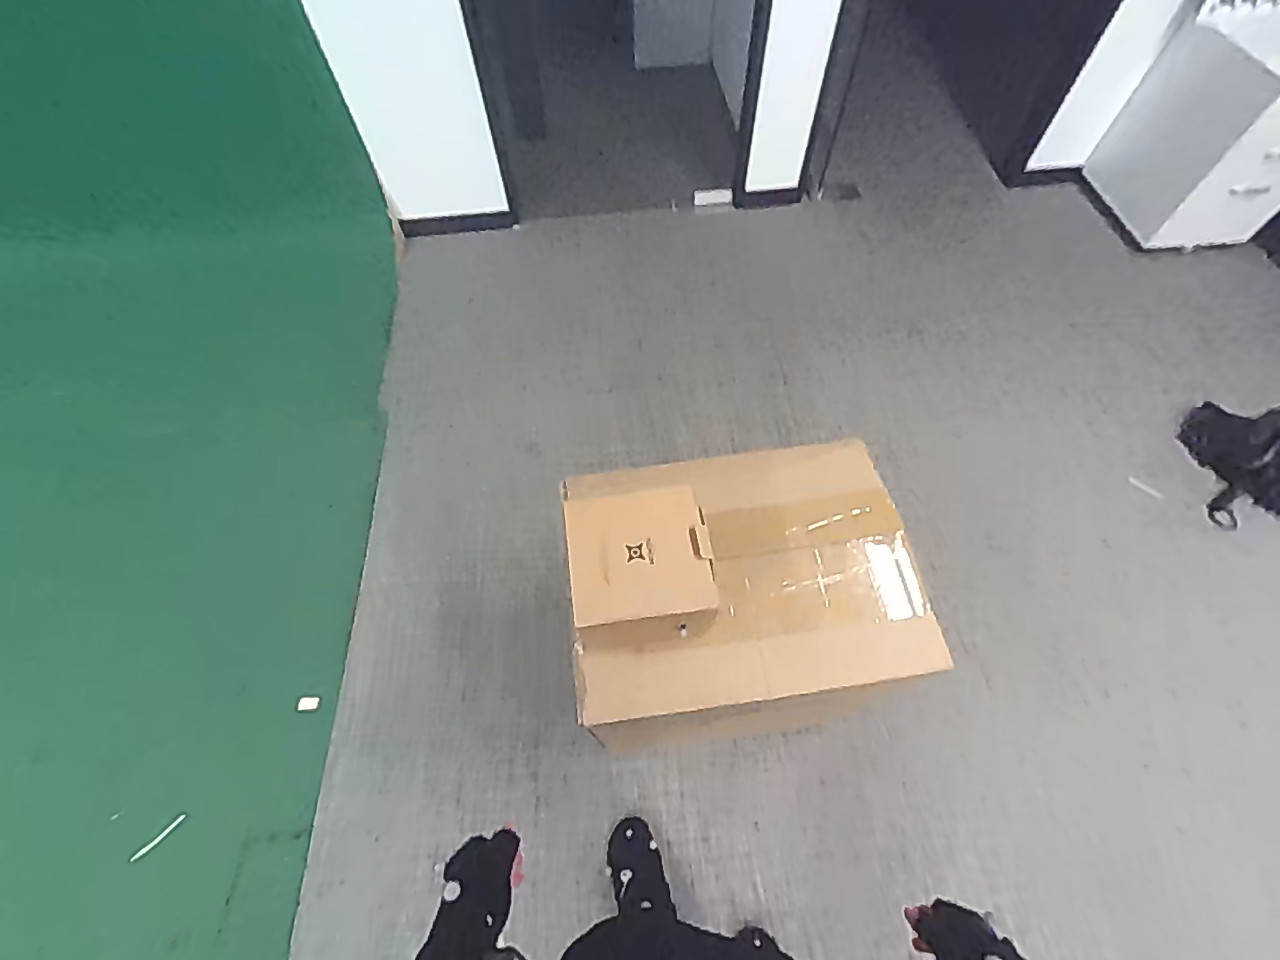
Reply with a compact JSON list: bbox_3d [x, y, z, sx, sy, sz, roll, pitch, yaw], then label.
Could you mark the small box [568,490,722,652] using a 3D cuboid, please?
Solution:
[{"bbox_3d":[0.003,0.131,0.744,0.179,0.176,0.168,-8,63,-3],"label":"small box"}]
